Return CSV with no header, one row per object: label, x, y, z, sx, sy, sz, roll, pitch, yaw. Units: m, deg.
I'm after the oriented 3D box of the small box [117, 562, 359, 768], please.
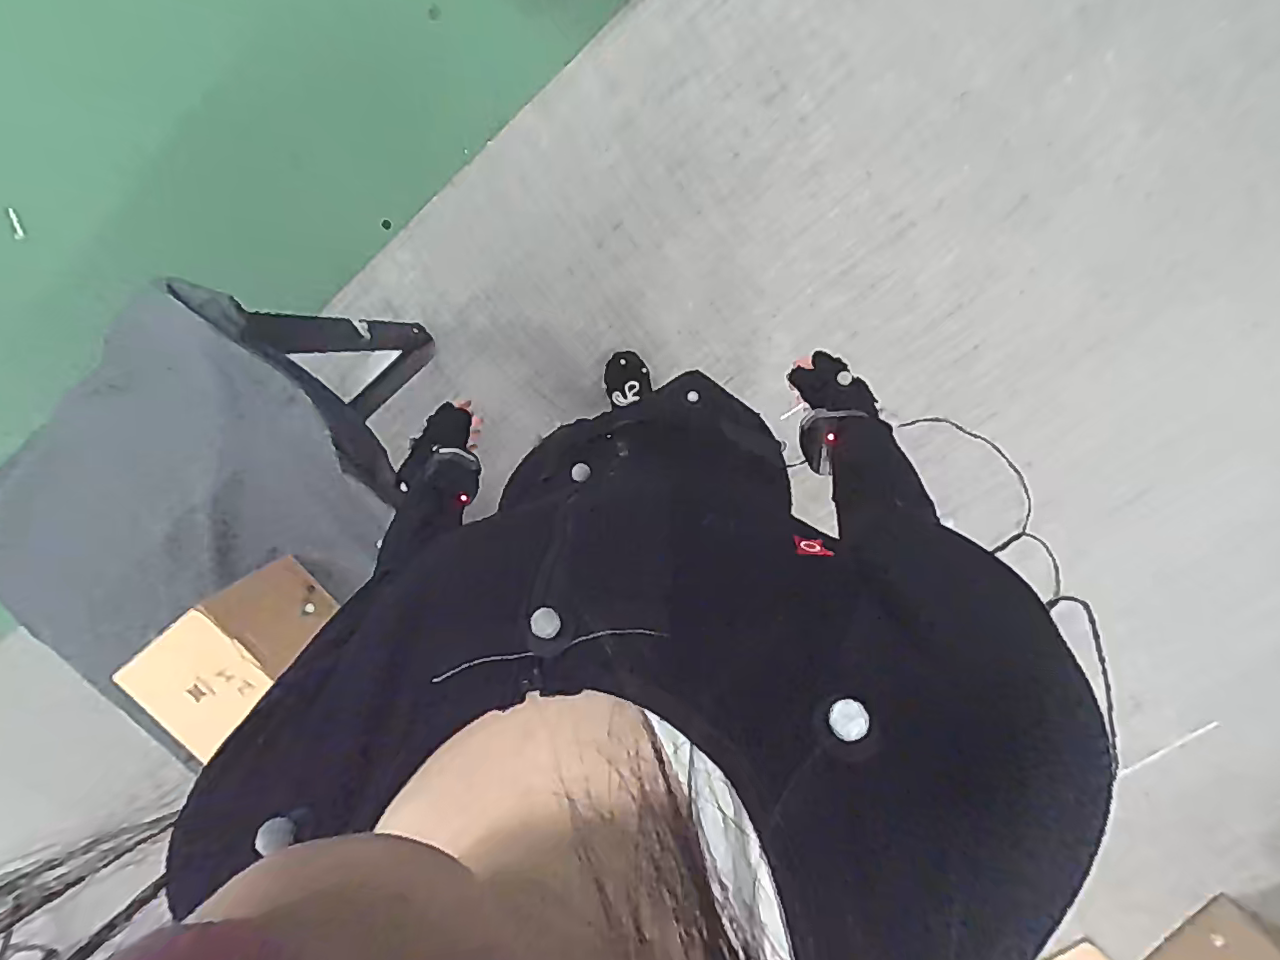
small box,-0.541,0.247,0.756,0.179,0.176,0.168,-36,100,11
